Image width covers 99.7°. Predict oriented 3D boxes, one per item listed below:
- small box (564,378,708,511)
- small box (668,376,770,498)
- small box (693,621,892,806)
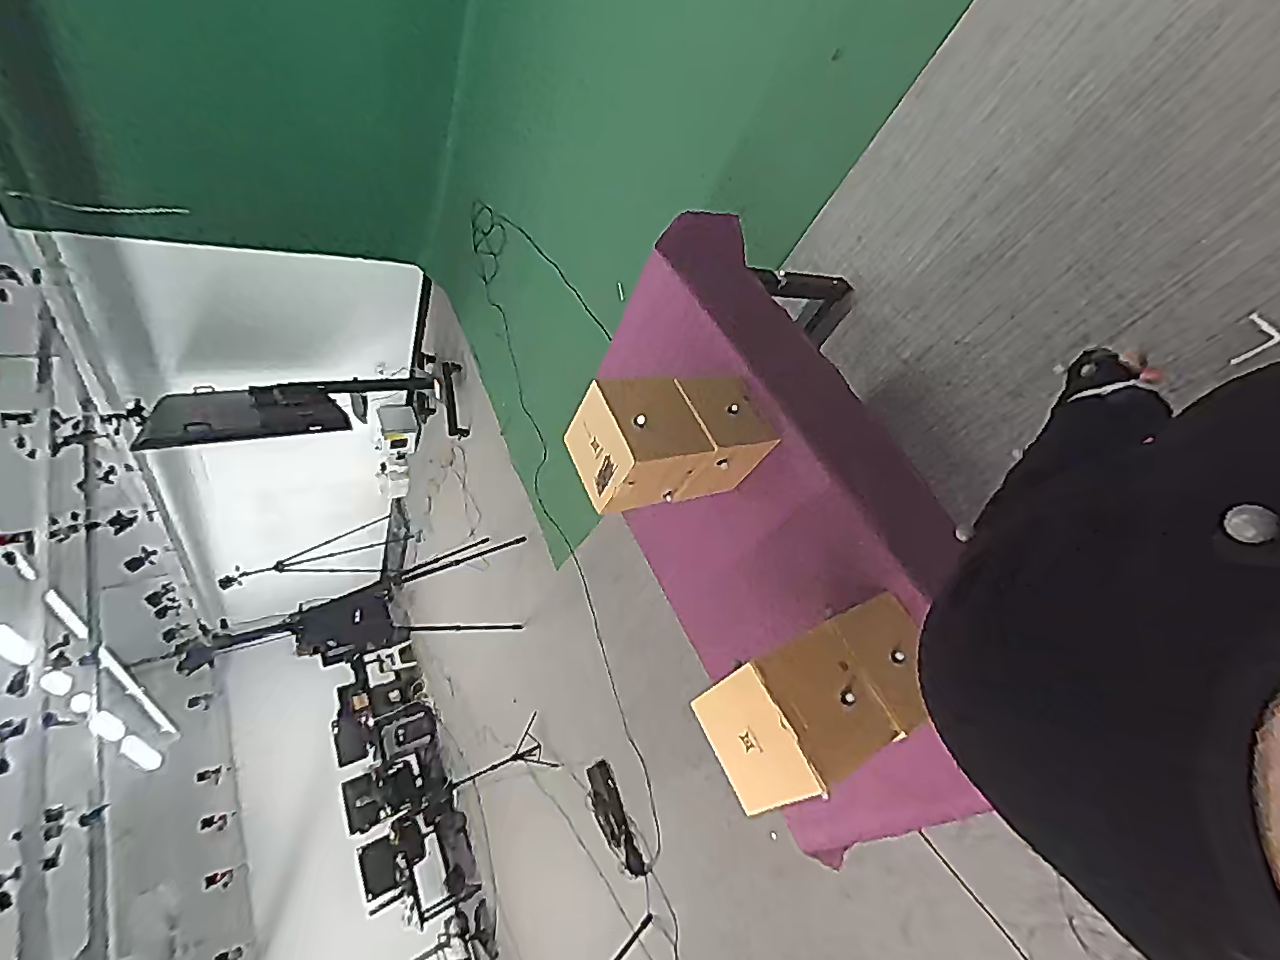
[{"bbox_3d":[-0.008,-0.070,0.971,0.168,0.176,0.179,-52,56,46],"label":"small box"},{"bbox_3d":[0.129,-0.090,1.061,0.168,0.176,0.179,63,141,23],"label":"small box"},{"bbox_3d":[0.213,0.328,0.770,0.168,0.176,0.179,60,140,25],"label":"small box"}]
